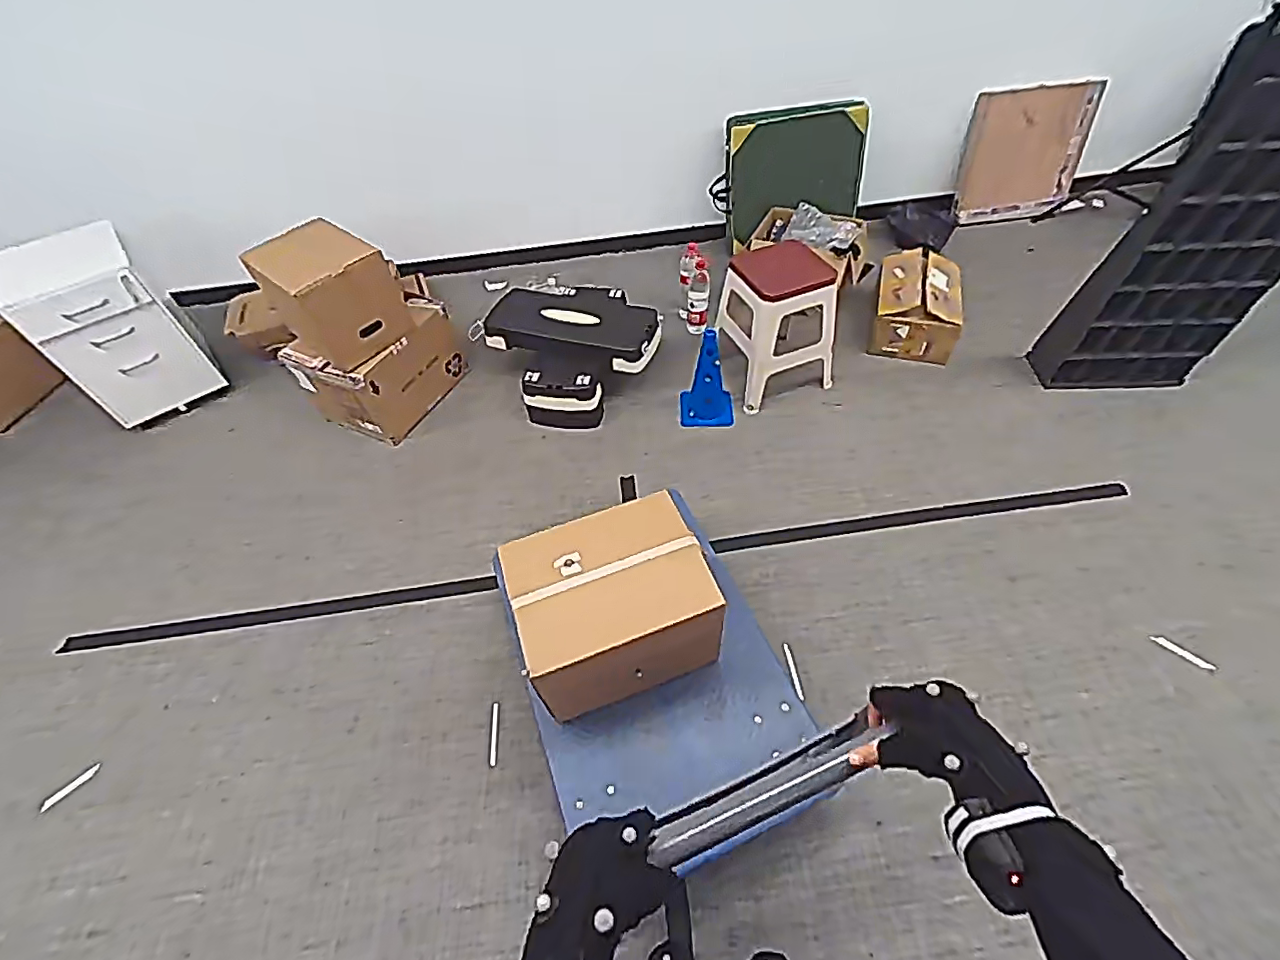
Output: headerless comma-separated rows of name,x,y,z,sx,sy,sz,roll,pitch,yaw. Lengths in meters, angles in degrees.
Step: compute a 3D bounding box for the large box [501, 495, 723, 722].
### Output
large box,-0.058,0.299,1.248,0.408,0.320,0.320,-19,52,-9
